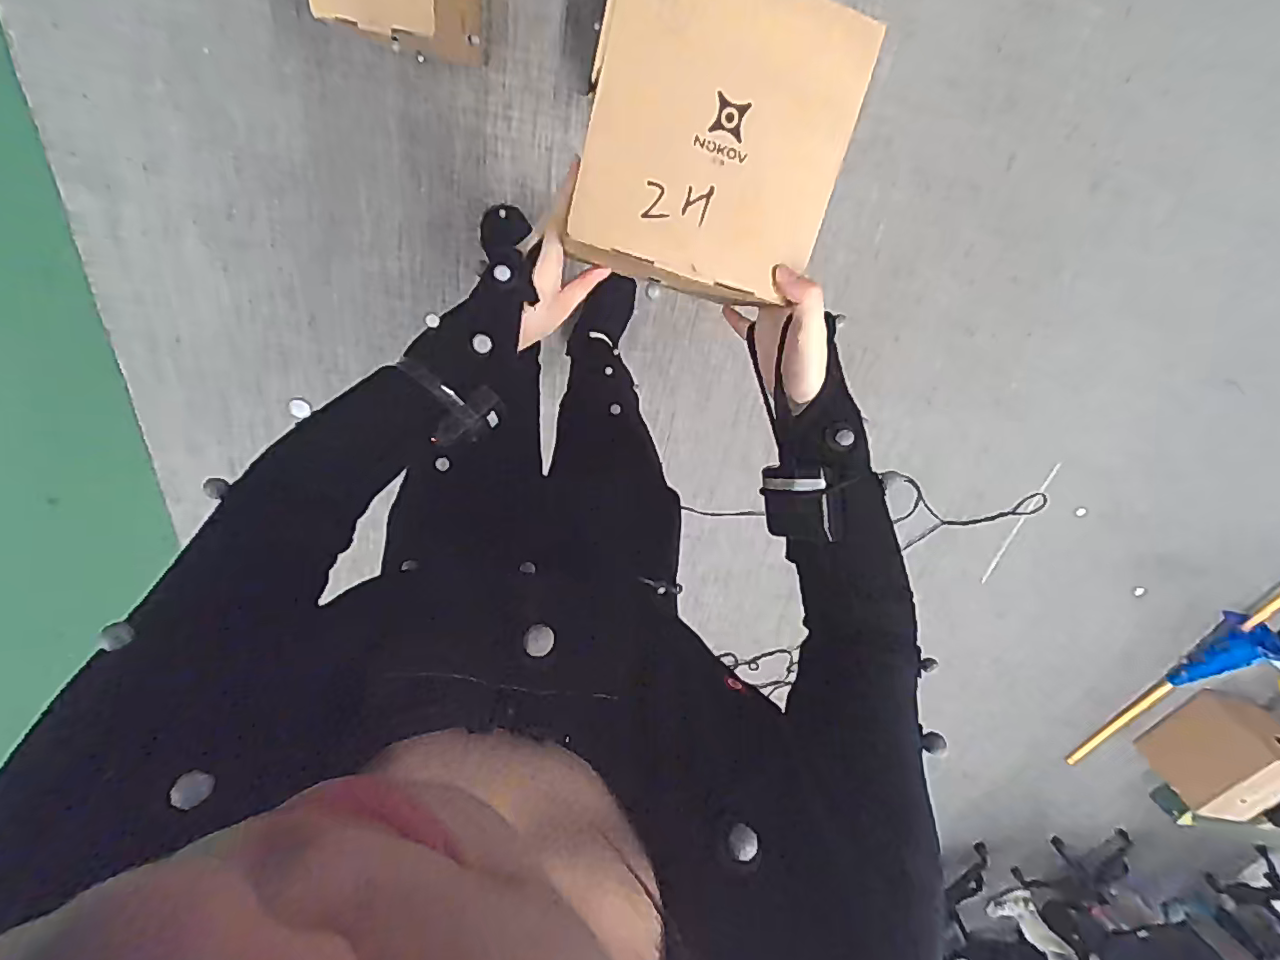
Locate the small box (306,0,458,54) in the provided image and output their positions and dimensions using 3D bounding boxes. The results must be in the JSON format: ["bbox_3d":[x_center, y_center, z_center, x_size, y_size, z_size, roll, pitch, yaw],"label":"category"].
[{"bbox_3d":[-0.357,-0.724,0.758,0.168,0.176,0.179,5,122,-8],"label":"small box"}]

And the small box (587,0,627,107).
[{"bbox_3d":[0.003,-0.753,0.969,0.168,0.176,0.179,12,121,-13],"label":"small box"}]

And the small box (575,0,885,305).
[{"bbox_3d":[0.046,-0.247,0.422,0.168,0.176,0.179,12,107,-12],"label":"small box"}]
